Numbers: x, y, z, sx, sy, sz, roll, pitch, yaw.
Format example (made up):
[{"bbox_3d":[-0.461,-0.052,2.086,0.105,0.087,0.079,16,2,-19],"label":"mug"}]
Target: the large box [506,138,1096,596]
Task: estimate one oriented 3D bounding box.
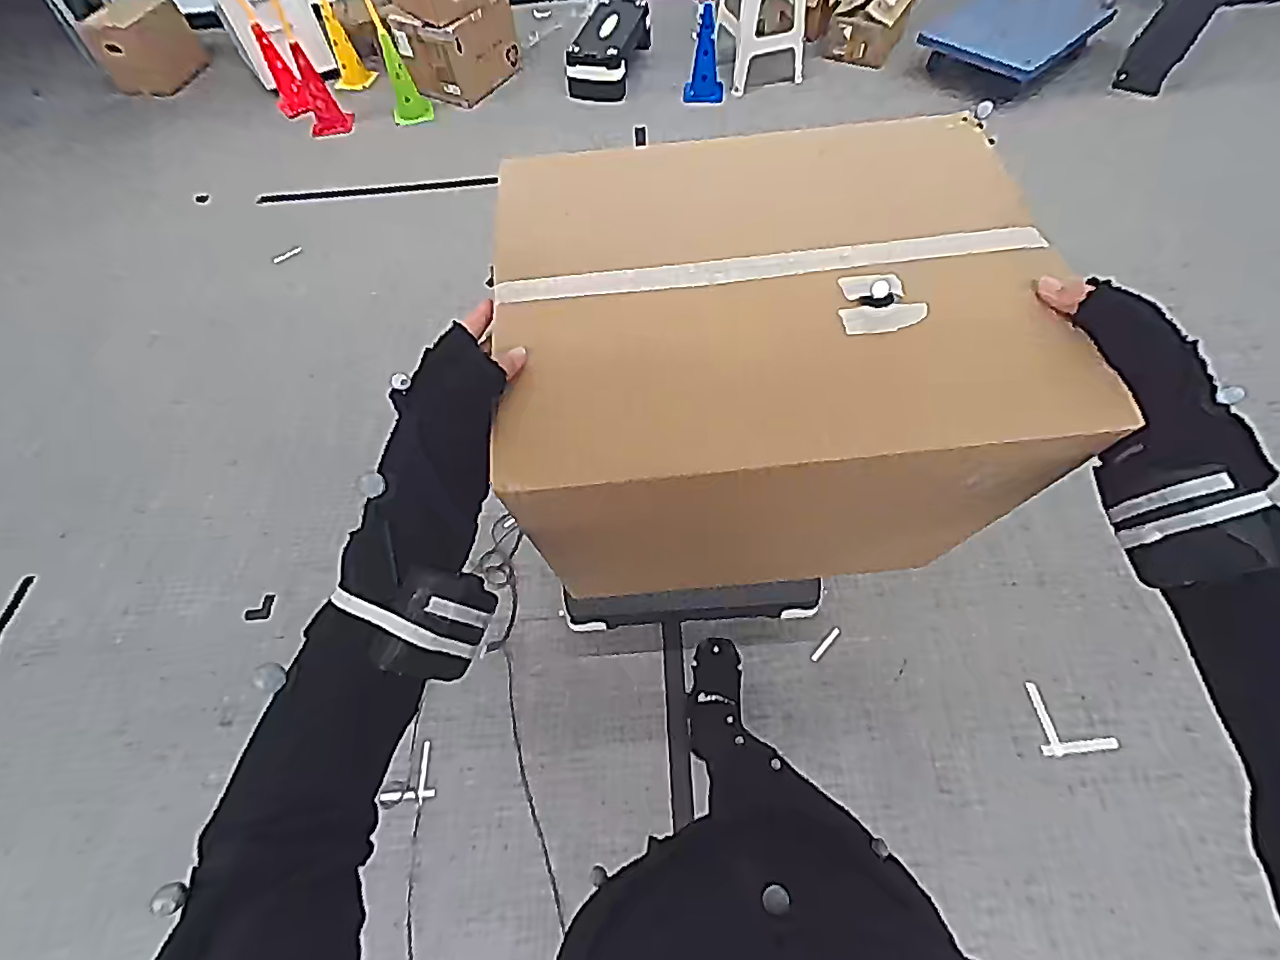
[{"bbox_3d":[0.098,-0.087,0.554,0.408,0.320,0.320,-6,65,0],"label":"large box"}]
